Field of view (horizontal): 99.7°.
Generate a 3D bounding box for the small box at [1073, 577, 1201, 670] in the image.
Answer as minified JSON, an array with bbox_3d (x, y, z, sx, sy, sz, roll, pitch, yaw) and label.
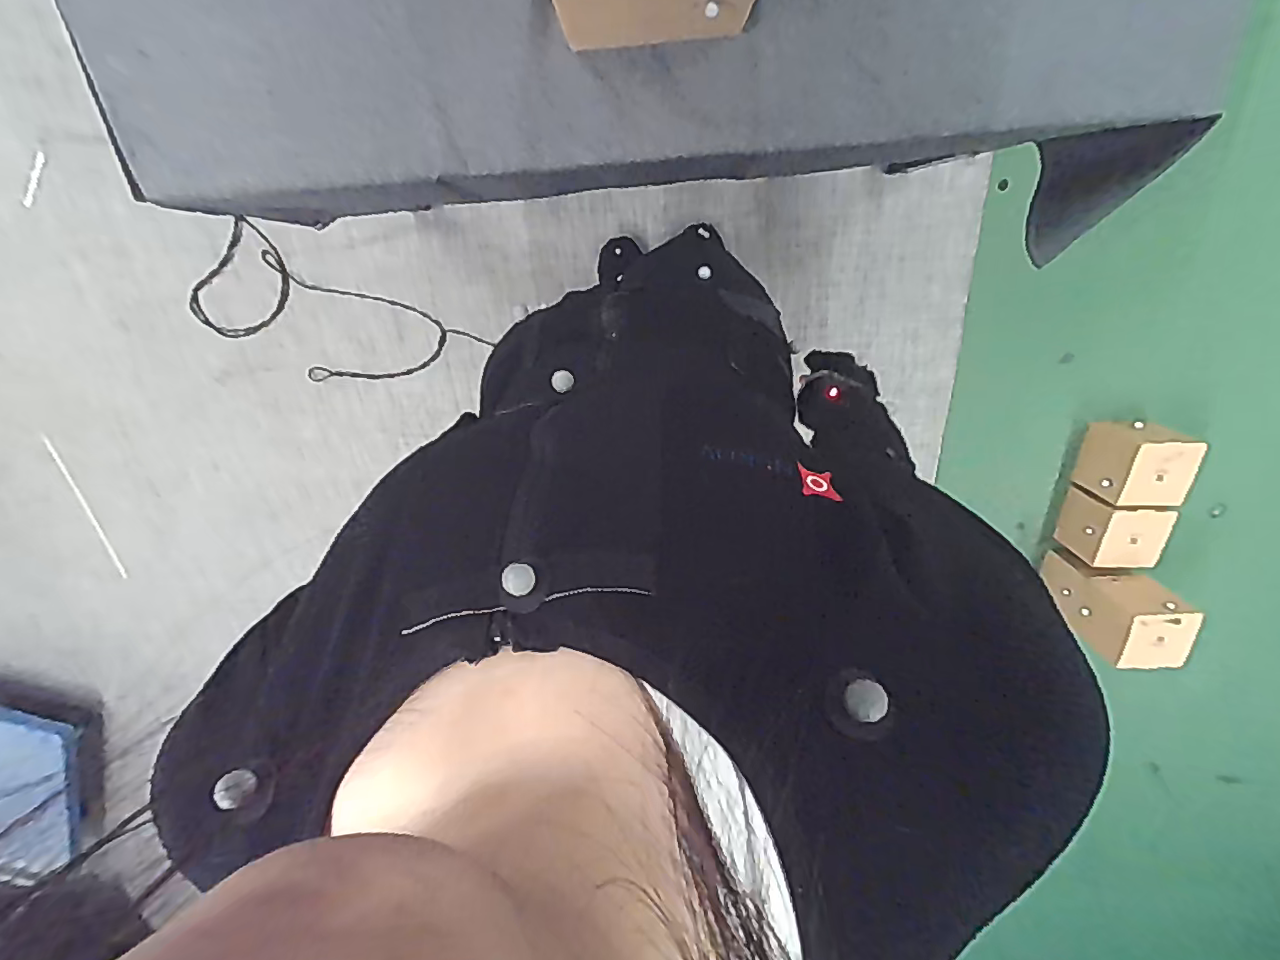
[{"bbox_3d":[1.307,0.379,1.440,0.168,0.176,0.179,-3,115,2],"label":"small box"}]
